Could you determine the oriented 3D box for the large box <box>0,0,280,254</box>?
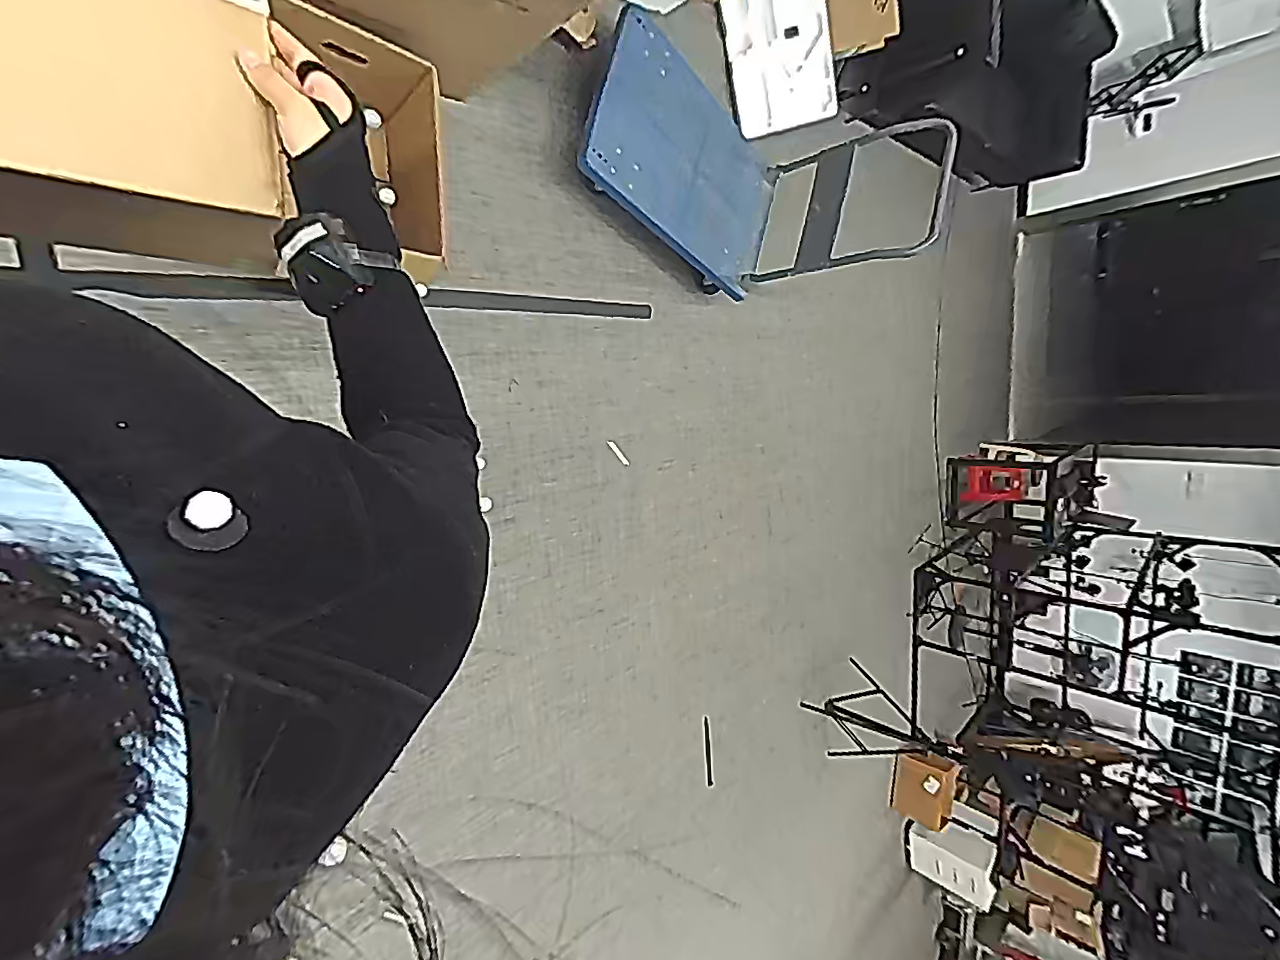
[{"bbox_3d":[-0.551,-0.379,0.410,0.408,0.320,0.320,-9,104,-41],"label":"large box"}]
